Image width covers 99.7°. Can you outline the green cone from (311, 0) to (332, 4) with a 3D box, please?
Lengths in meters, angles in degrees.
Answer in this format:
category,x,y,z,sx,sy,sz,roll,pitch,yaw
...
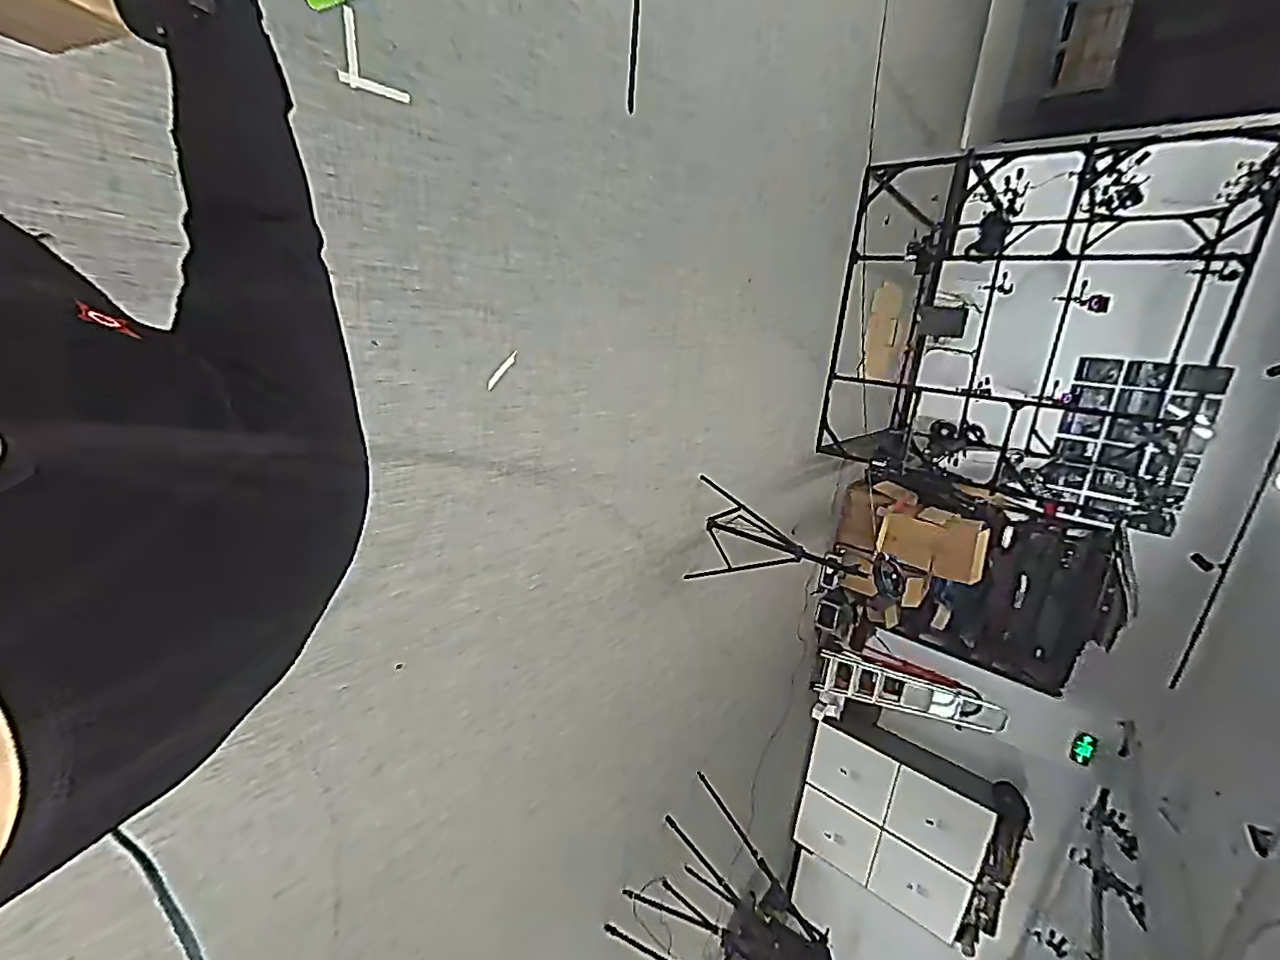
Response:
category,x,y,z,sx,sy,sz,roll,pitch,yaw
green cone,-0.560,-1.128,1.061,0.202,0.368,0.200,-53,140,-27

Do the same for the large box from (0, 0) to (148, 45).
category,x,y,z,sx,sy,sz,roll,pitch,yaw
large box,-0.553,-0.499,0.262,0.408,0.320,0.320,-10,120,-54
